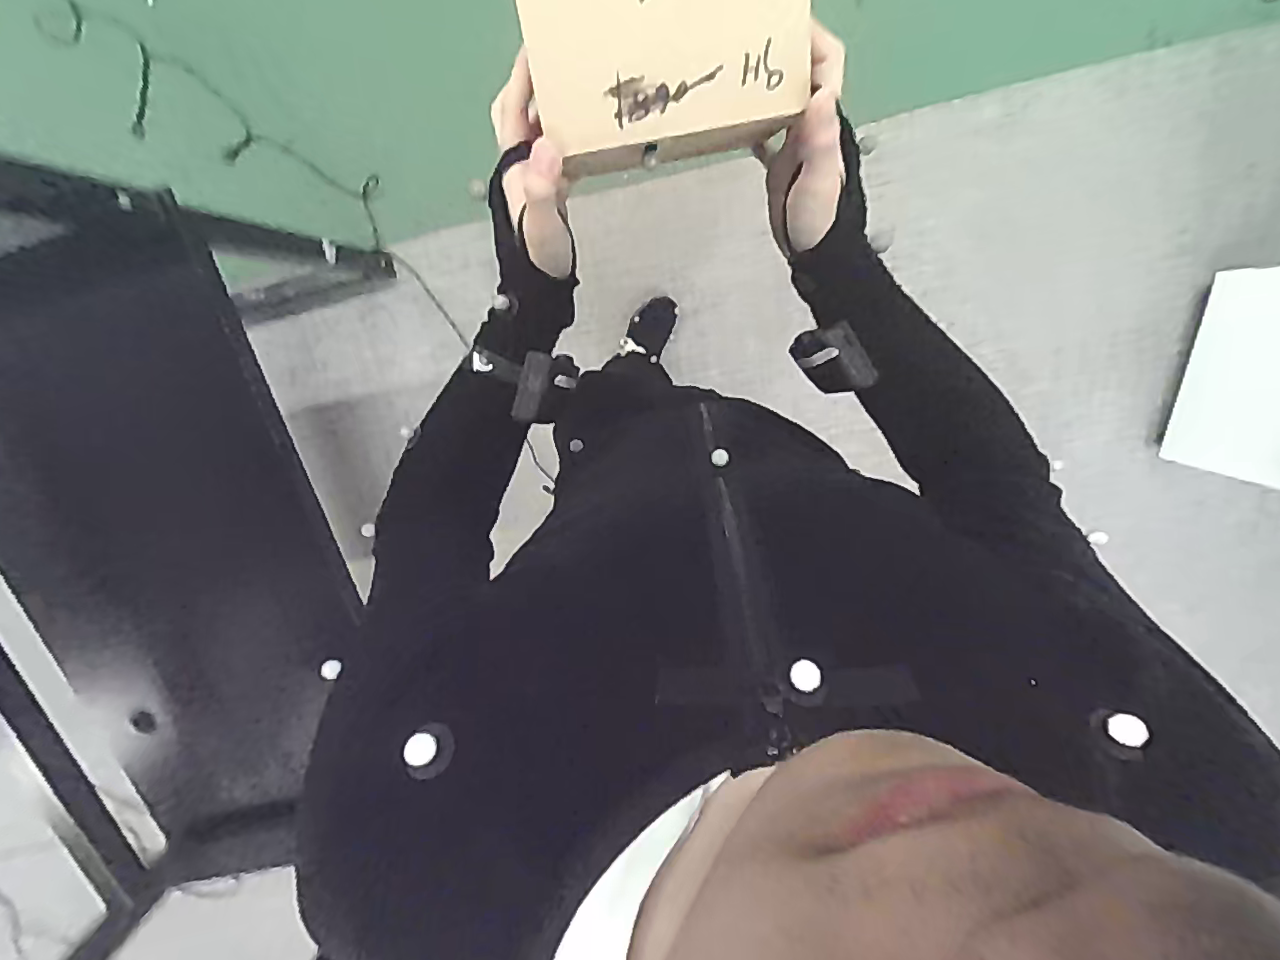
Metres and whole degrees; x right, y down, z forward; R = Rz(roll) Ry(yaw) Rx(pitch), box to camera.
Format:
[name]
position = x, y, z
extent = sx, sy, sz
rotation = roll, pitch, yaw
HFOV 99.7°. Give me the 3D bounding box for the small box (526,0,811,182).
[small box]
position = 0.015, -0.324, 0.376
extent = 0.168, 0.176, 0.179
rotation = -7, 114, 5
